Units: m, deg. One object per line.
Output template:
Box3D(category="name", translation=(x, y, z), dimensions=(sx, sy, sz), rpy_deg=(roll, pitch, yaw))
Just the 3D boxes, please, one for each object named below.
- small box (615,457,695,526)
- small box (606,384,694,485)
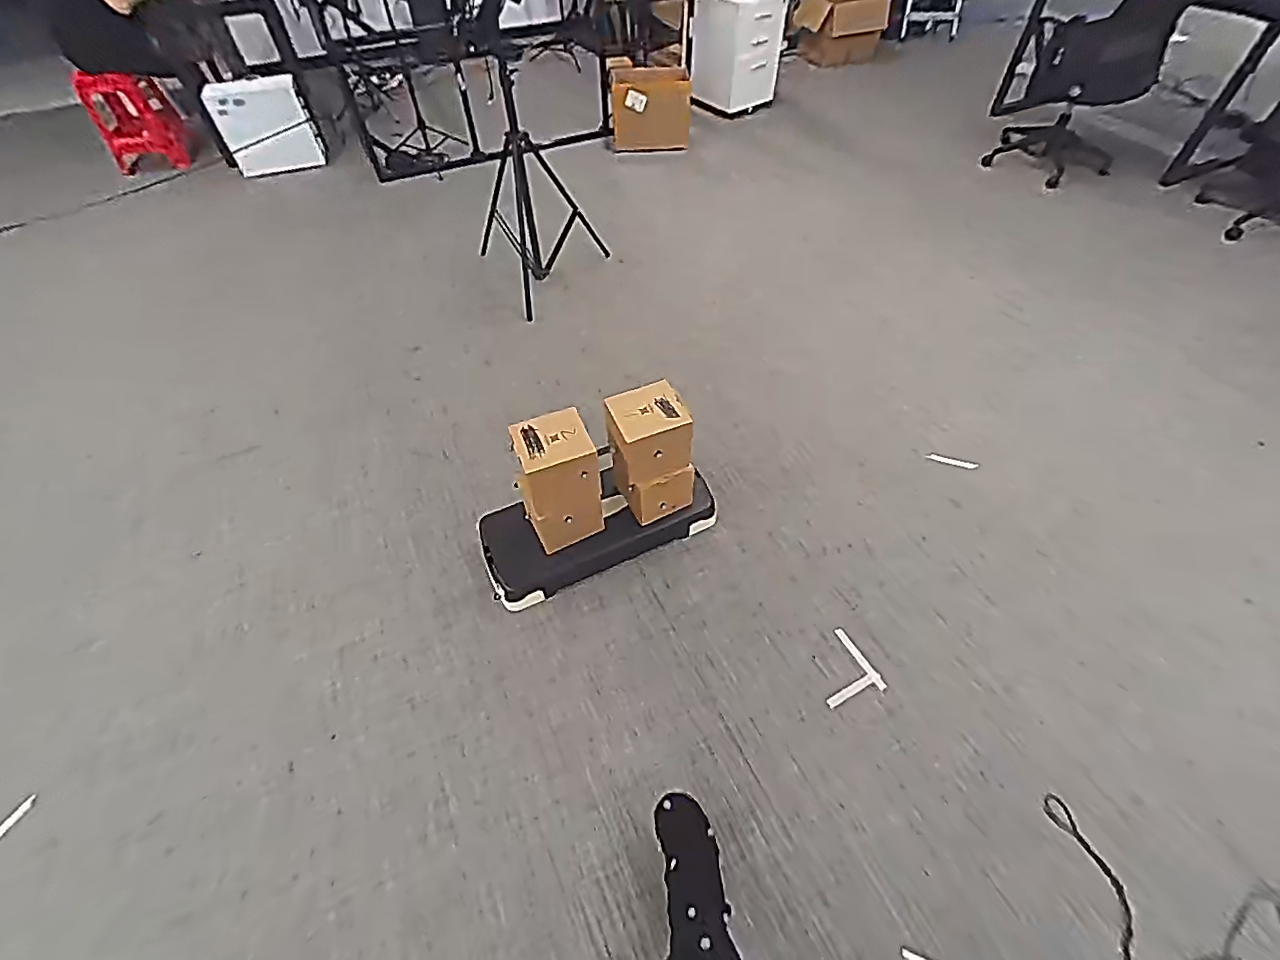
Box3D(category="small box", translation=(0.036, -0.004, 1.520), dimensions=(0.168, 0.176, 0.179), rpy_deg=(-23, 56, -16))
Box3D(category="small box", translation=(0.023, -0.115, 1.398), dimensions=(0.179, 0.176, 0.168), rpy_deg=(-19, 54, -12))
